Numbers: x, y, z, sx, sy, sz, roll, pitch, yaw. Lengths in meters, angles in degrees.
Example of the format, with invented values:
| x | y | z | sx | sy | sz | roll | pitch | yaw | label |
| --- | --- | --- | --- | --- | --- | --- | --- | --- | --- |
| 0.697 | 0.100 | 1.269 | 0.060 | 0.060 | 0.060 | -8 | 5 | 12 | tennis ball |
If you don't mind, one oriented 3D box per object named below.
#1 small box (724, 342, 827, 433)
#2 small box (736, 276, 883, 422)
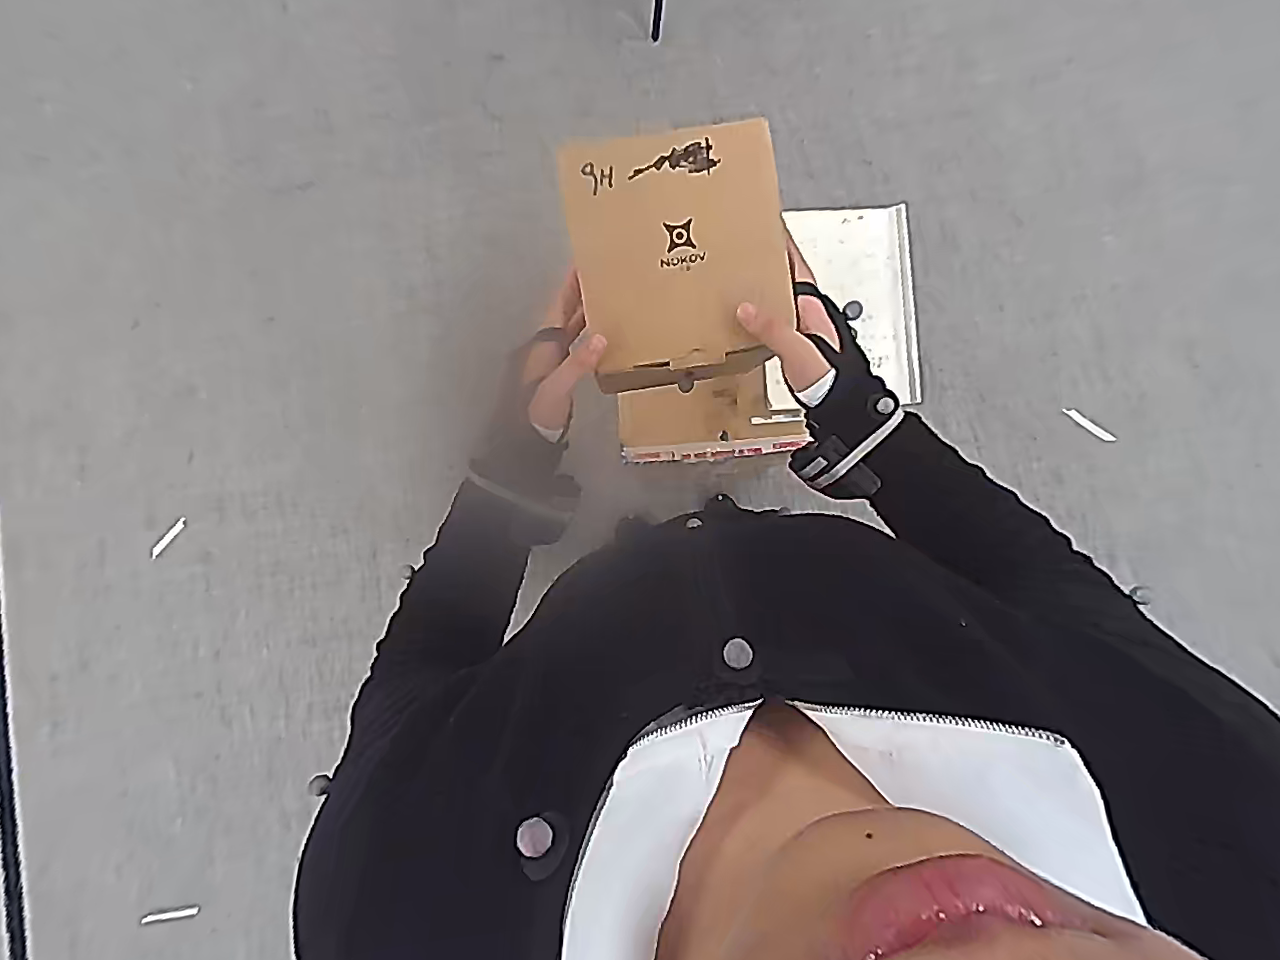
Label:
| x | y | z | sx | sy | sz | roll | pitch | yaw | label |
| --- | --- | --- | --- | --- | --- | --- | --- | --- | --- |
| 0.260 | -0.184 | 0.981 | 0.179 | 0.176 | 0.168 | -7 | 87 | -1 | small box |
| 0.244 | -0.188 | 0.816 | 0.168 | 0.176 | 0.179 | -3 | 88 | -2 | small box |
